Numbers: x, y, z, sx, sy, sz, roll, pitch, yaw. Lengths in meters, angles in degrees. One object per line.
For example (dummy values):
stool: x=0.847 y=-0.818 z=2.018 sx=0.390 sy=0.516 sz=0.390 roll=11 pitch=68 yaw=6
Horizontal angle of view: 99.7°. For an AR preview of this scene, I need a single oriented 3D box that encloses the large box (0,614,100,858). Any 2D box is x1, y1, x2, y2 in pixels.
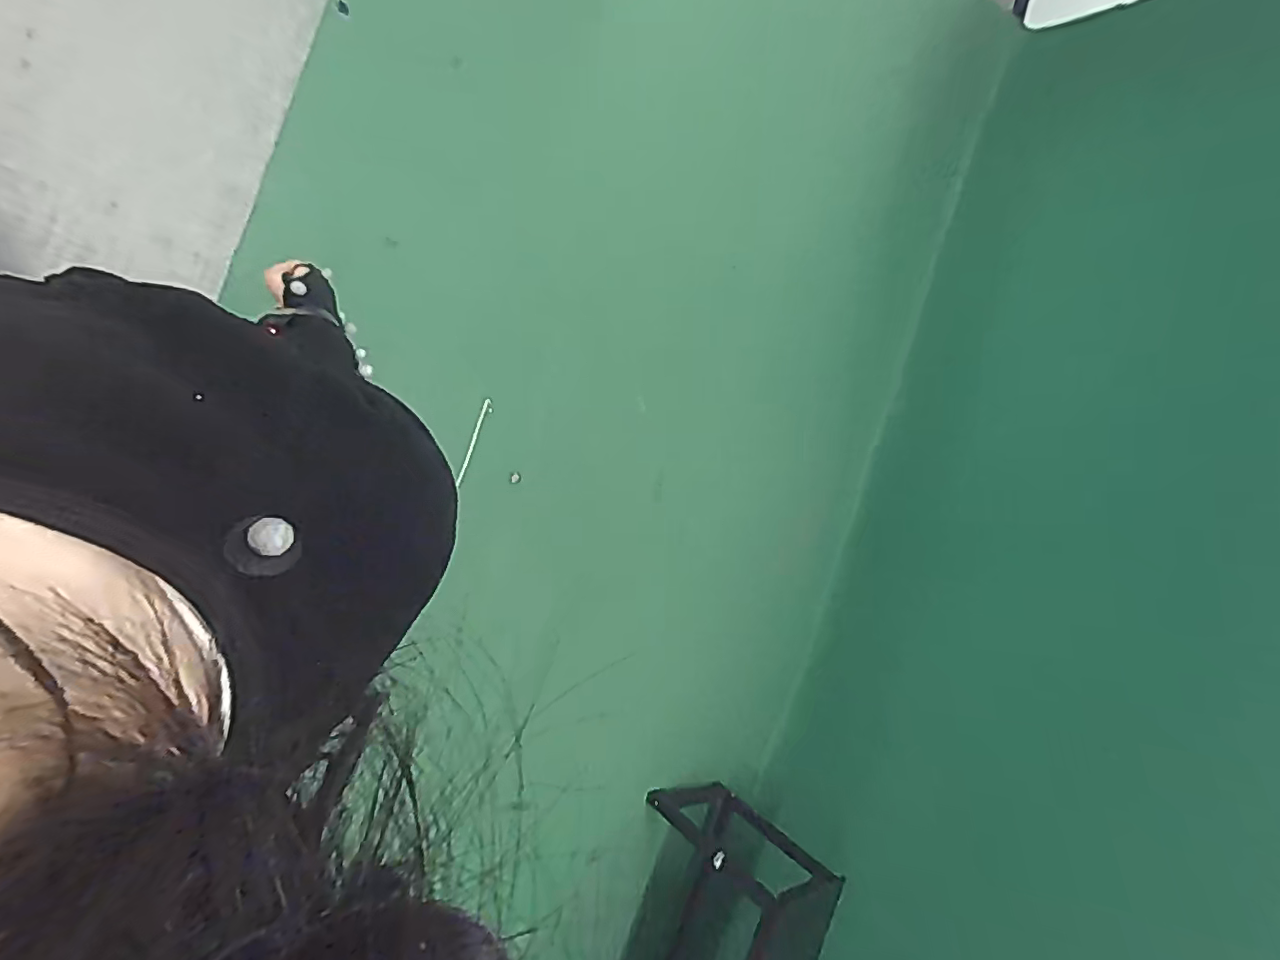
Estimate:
large box: x=-1.226 y=0.459 z=0.934 sx=0.408 sy=0.320 sz=0.320 roll=1 pitch=103 yaw=-43
